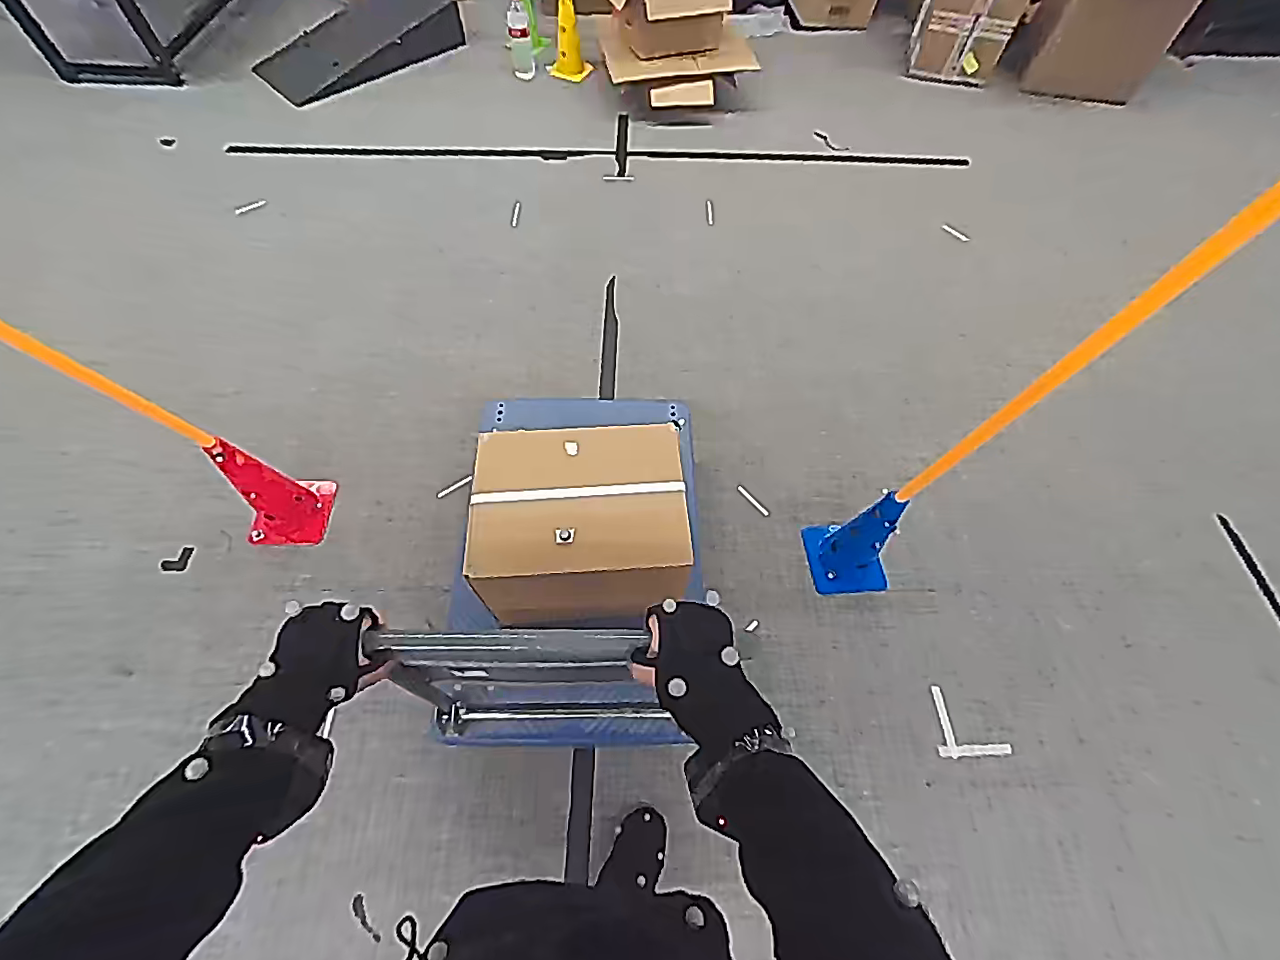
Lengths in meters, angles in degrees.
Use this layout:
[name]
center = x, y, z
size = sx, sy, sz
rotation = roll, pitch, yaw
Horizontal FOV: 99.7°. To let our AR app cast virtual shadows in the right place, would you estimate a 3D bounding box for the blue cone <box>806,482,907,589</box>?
[blue cone]
center = 0.573, 0.124, 1.353
size = 0.193, 0.380, 0.192
rotation = -2, 59, -3
